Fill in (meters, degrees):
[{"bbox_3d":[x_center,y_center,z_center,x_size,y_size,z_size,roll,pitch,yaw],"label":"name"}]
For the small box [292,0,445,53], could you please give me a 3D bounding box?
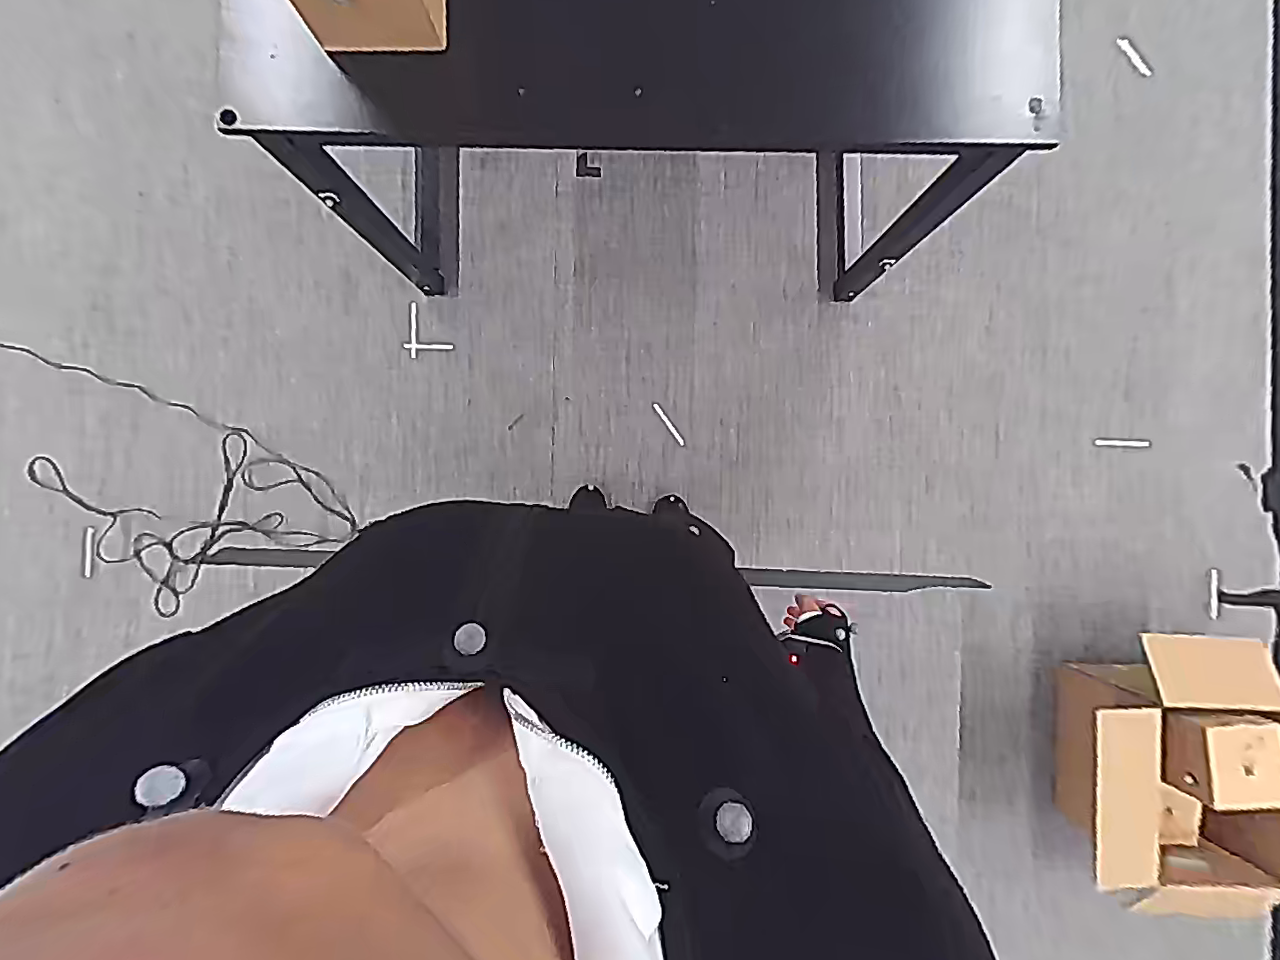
[{"bbox_3d":[-0.367,-0.692,0.694,0.179,0.176,0.168,-1,89,0],"label":"small box"}]
